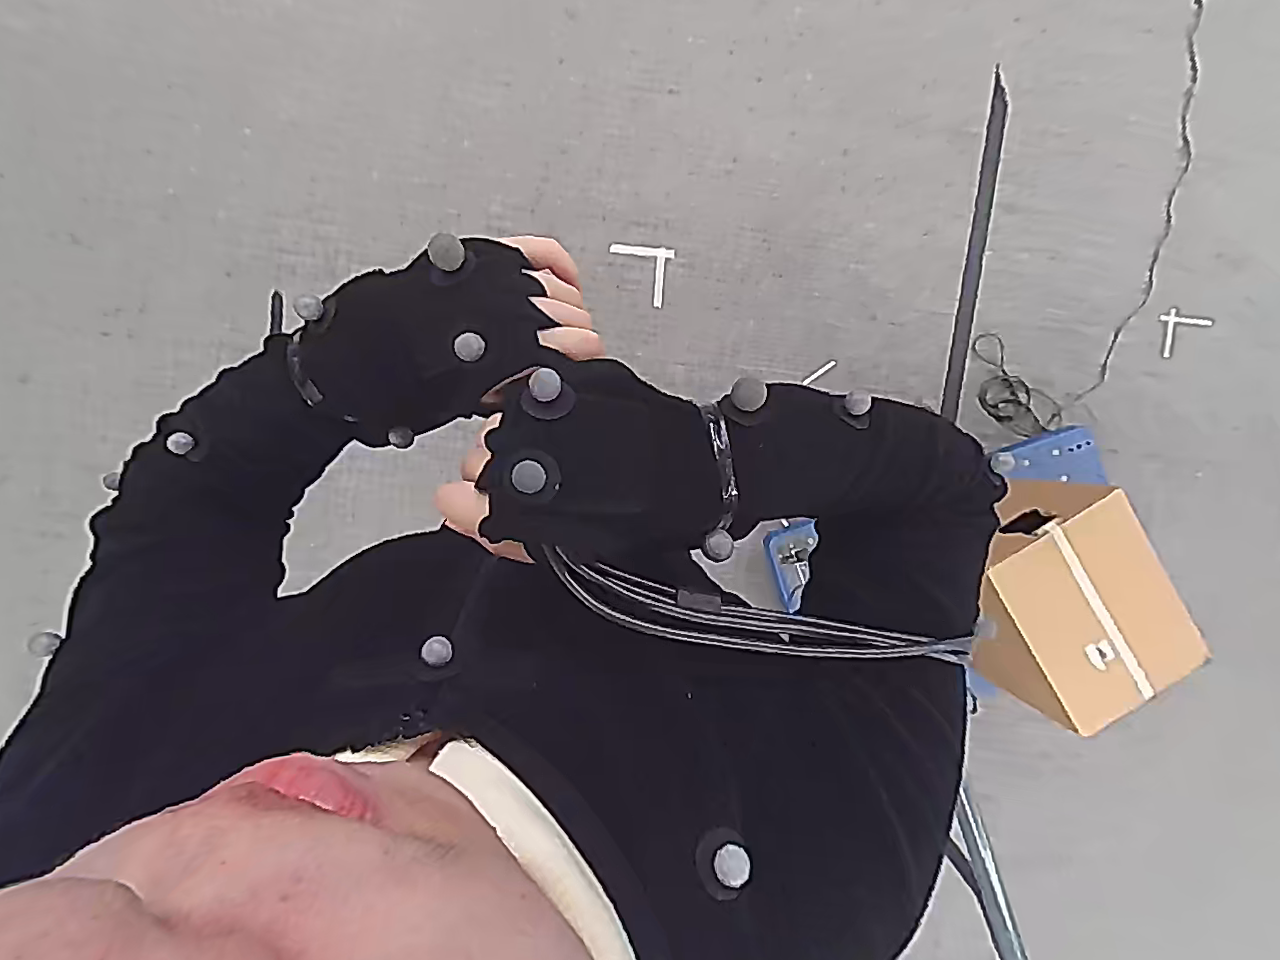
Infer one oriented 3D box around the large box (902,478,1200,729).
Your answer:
[{"bbox_3d":[0.886,0.246,1.215,0.320,0.320,0.408,-31,95,0],"label":"large box"}]
